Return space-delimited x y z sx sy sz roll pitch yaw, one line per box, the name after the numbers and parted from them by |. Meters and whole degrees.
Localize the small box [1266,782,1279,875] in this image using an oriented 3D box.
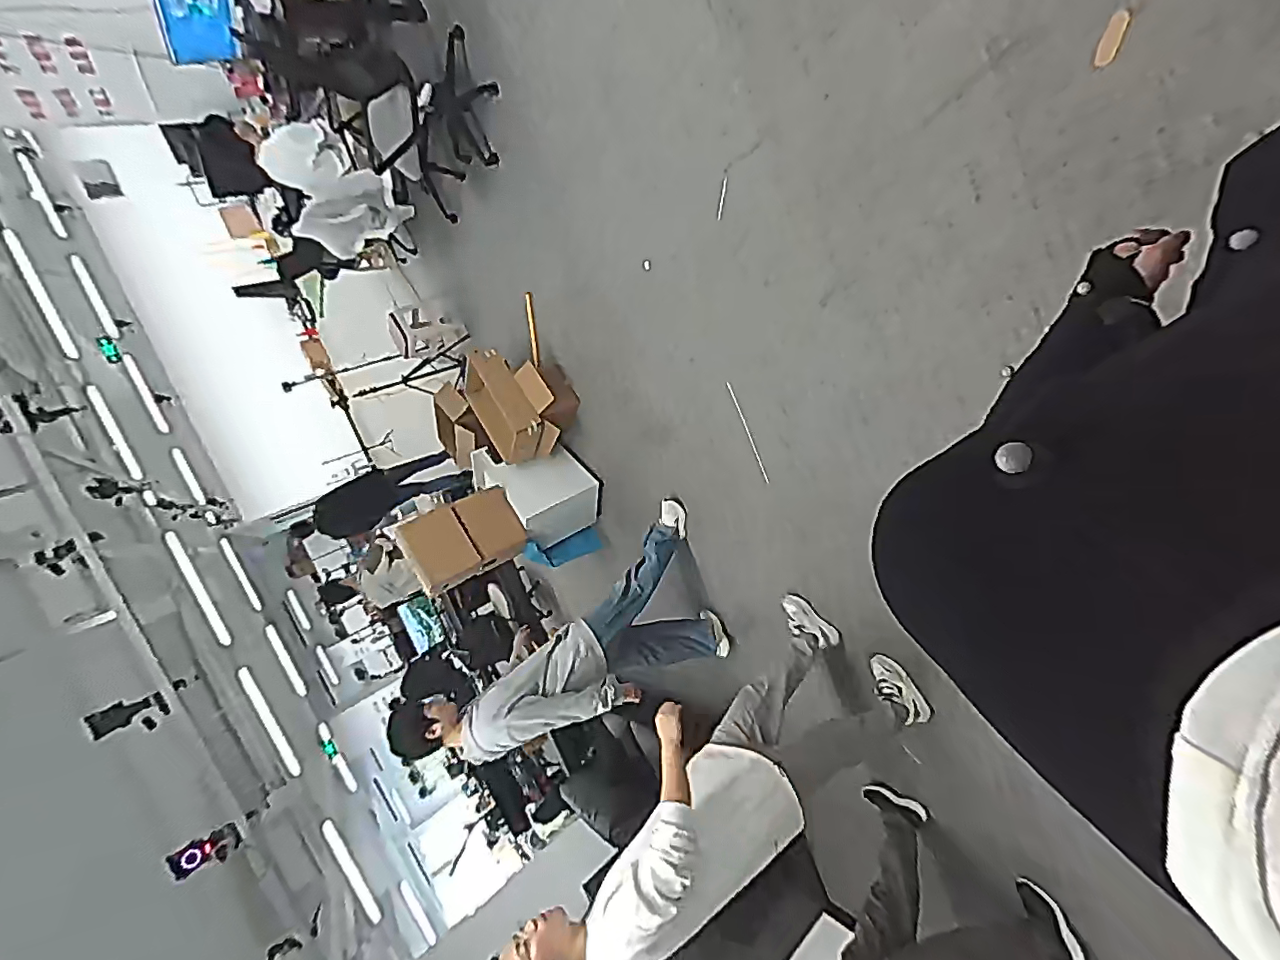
1.437 0.742 1.103 0.179 0.176 0.168 -12 102 56 | small box
